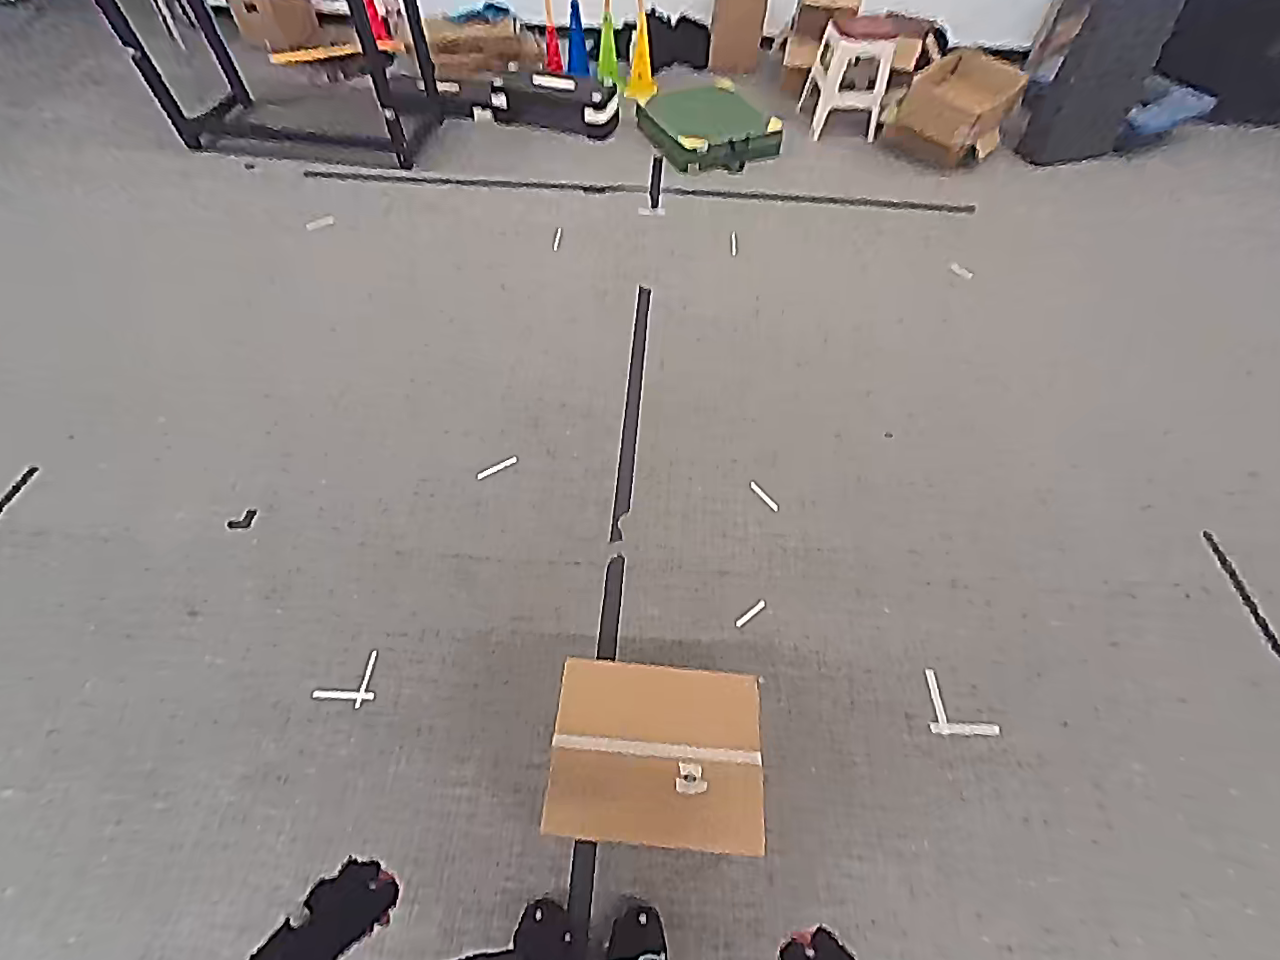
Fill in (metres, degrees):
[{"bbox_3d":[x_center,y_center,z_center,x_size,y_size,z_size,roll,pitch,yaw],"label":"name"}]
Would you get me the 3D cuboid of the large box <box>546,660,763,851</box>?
[{"bbox_3d":[0.029,0.605,1.179,0.408,0.320,0.320,6,58,1],"label":"large box"}]
